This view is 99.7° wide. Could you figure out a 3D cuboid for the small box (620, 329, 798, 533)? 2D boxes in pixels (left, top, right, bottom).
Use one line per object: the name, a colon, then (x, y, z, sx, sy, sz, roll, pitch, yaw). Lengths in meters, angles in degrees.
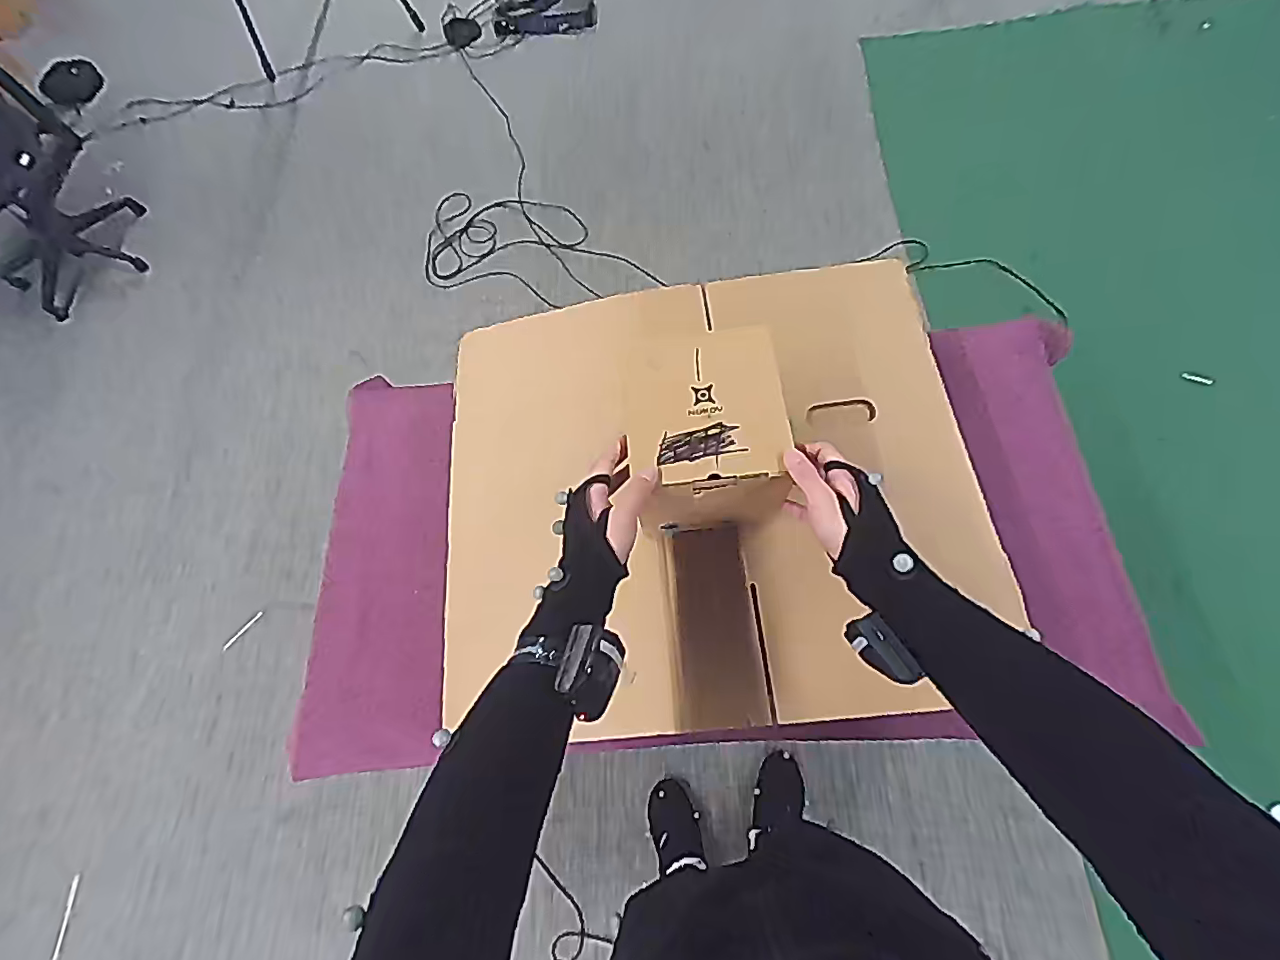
small box: (0.072, -0.044, 0.624, 0.168, 0.176, 0.179, -7, 67, 2)
